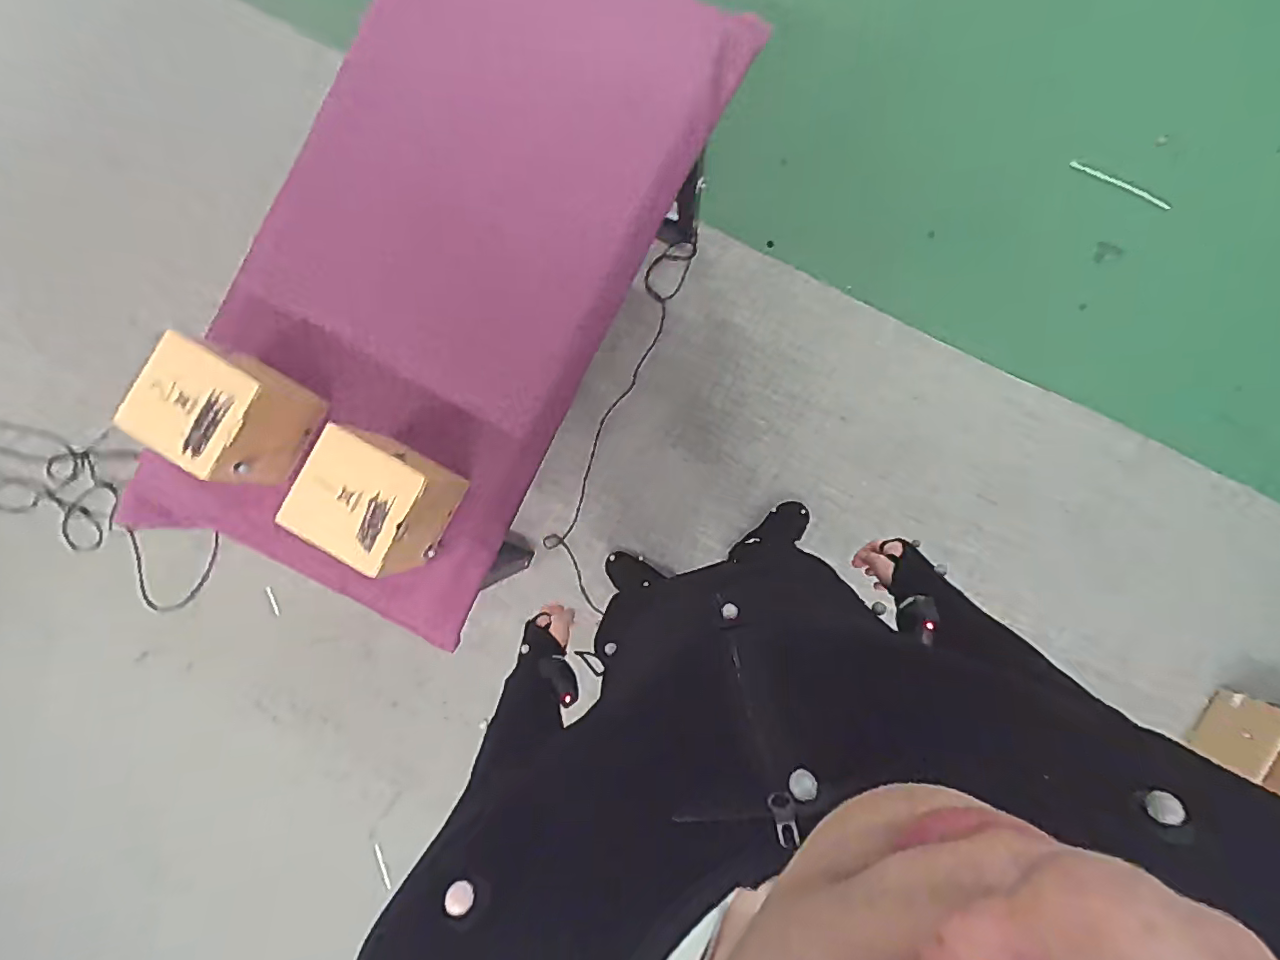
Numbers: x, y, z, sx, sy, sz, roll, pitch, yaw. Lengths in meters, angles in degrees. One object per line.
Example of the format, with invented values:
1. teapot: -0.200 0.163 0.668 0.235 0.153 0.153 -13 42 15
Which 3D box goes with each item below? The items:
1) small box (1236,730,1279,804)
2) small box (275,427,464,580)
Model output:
1. small box: 1.746 0.788 1.404 0.179 0.176 0.168 31 90 3
2. small box: -0.411 0.034 0.855 0.179 0.176 0.168 28 89 5
